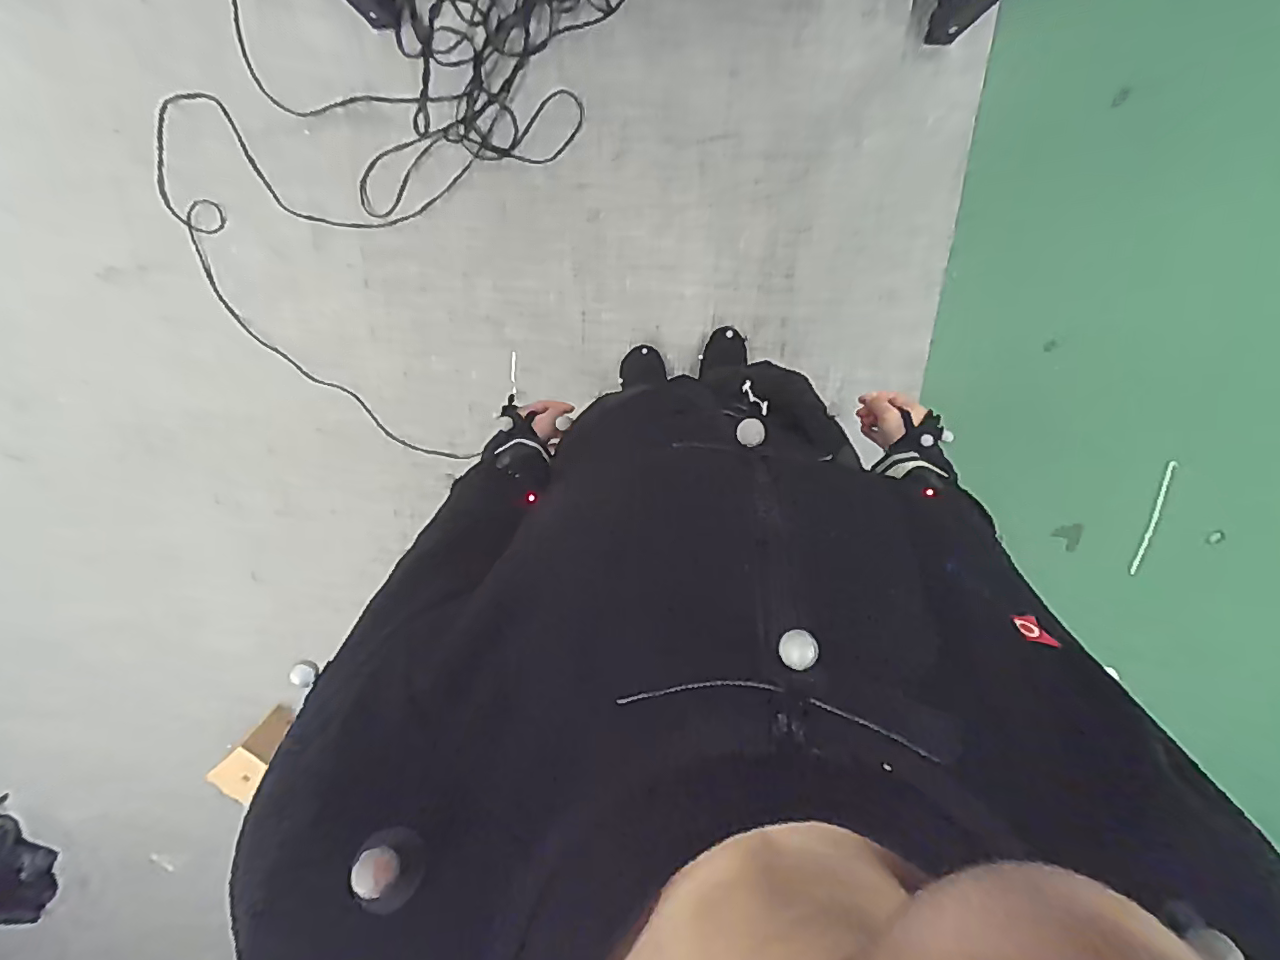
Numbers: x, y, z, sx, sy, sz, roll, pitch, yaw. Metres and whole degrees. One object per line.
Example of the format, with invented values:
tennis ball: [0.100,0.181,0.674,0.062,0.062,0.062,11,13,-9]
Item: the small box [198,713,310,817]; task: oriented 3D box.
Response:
small box: [-1.120,0.829,1.584,0.179,0.176,0.168,-40,104,12]
